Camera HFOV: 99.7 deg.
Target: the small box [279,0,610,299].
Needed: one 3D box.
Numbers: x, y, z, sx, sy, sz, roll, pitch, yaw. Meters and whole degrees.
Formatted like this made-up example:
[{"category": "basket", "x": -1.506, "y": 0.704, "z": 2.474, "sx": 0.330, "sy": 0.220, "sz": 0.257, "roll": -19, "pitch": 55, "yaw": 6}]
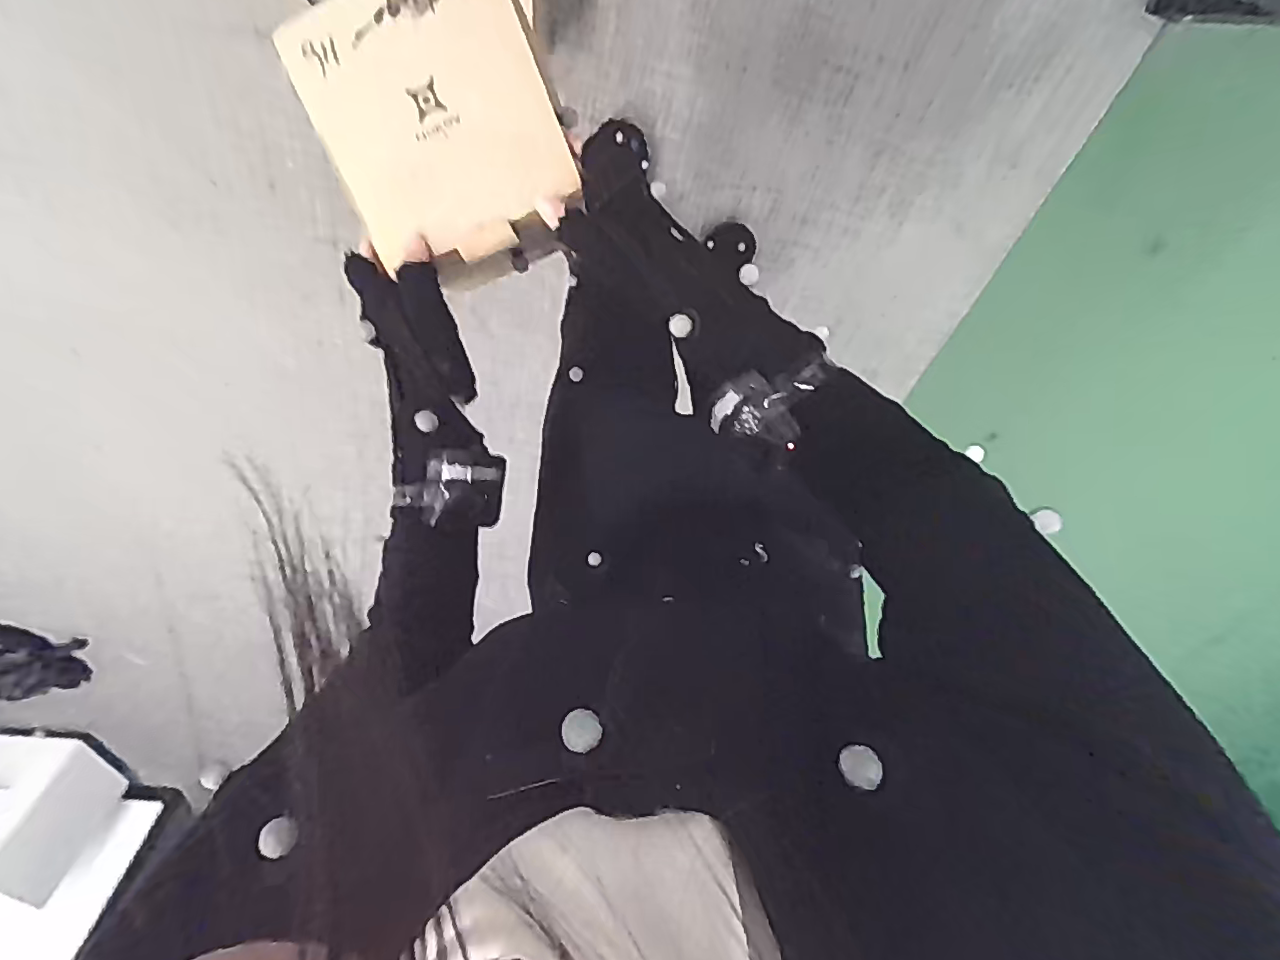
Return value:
[{"category": "small box", "x": -0.139, "y": -0.271, "z": 0.459, "sx": 0.168, "sy": 0.176, "sz": 0.179, "roll": -23, "pitch": 103, "yaw": 11}]
